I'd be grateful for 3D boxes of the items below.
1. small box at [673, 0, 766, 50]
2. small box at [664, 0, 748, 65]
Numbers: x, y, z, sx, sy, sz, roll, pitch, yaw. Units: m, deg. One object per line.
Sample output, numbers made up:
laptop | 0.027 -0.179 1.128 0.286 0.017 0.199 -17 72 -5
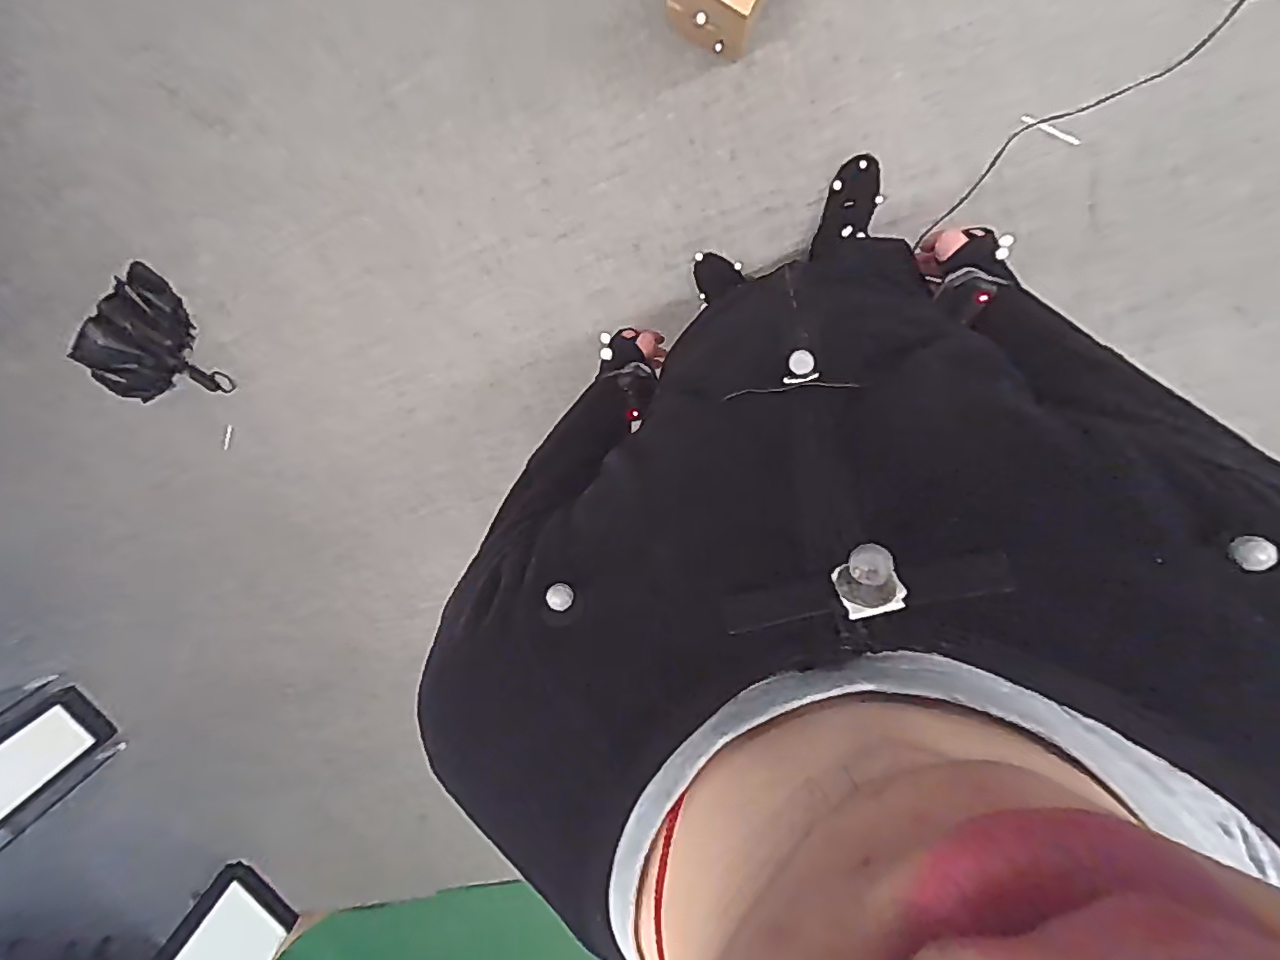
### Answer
small box | 0.159 -0.925 0.963 0.168 0.176 0.179 28 115 -6
small box | 0.161 -0.999 1.110 0.168 0.176 0.179 21 114 -3
